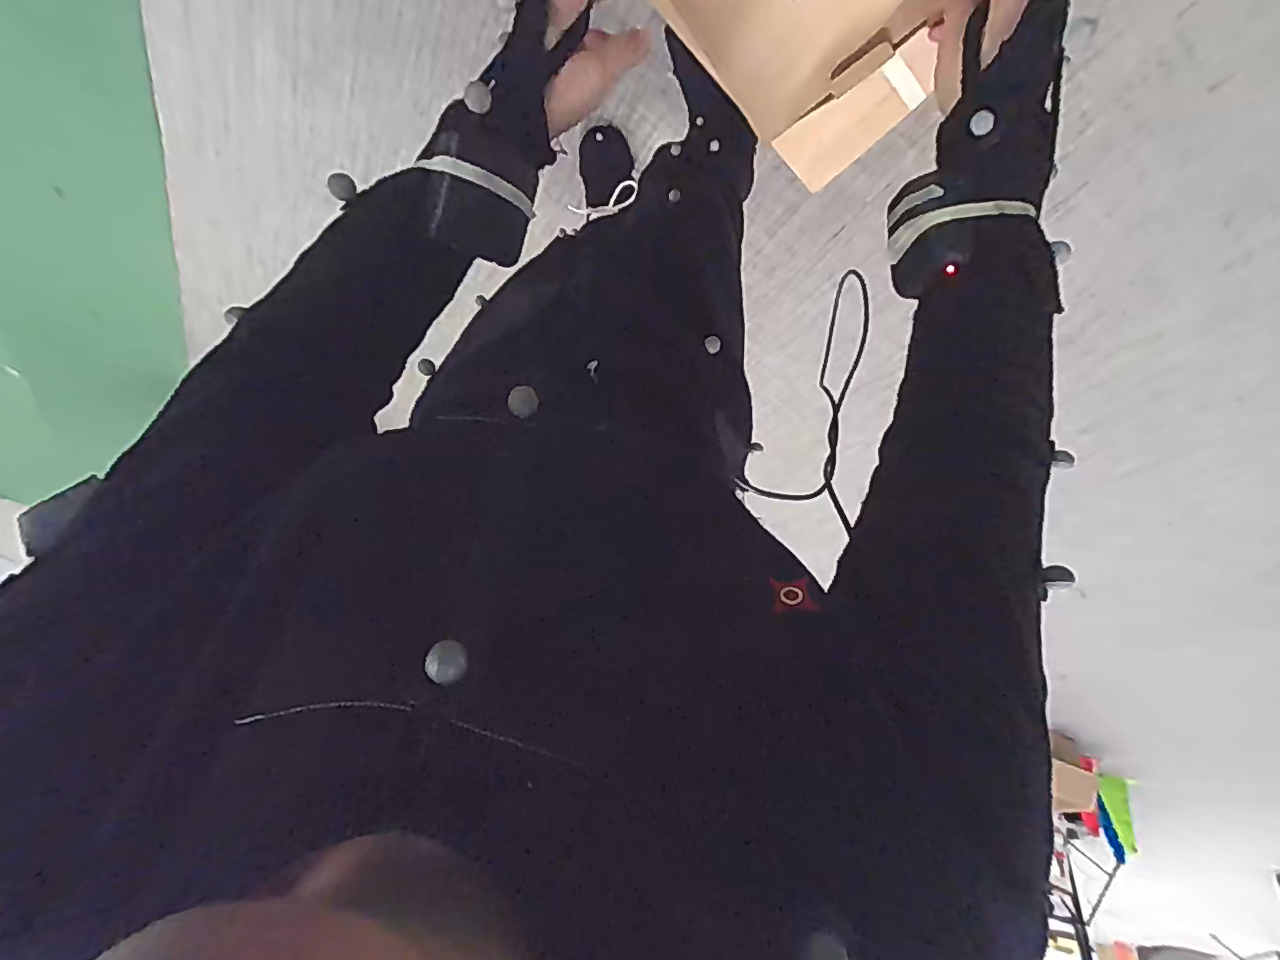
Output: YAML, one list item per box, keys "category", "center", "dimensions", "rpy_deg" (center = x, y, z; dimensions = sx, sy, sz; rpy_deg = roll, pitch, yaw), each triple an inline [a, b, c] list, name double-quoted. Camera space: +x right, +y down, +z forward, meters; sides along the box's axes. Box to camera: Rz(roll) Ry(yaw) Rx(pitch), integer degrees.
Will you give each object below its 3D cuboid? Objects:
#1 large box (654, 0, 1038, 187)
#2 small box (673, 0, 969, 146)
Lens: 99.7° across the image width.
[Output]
- category: "large box"
  center: [0.232, -0.688, 0.682]
  dimensions: [0.408, 0.320, 0.320]
  rpy_deg: [34, 139, -24]
- category: "small box"
  center: [0.119, -0.404, 0.391]
  dimensions: [0.168, 0.176, 0.179]
  rpy_deg: [-23, 135, 38]
